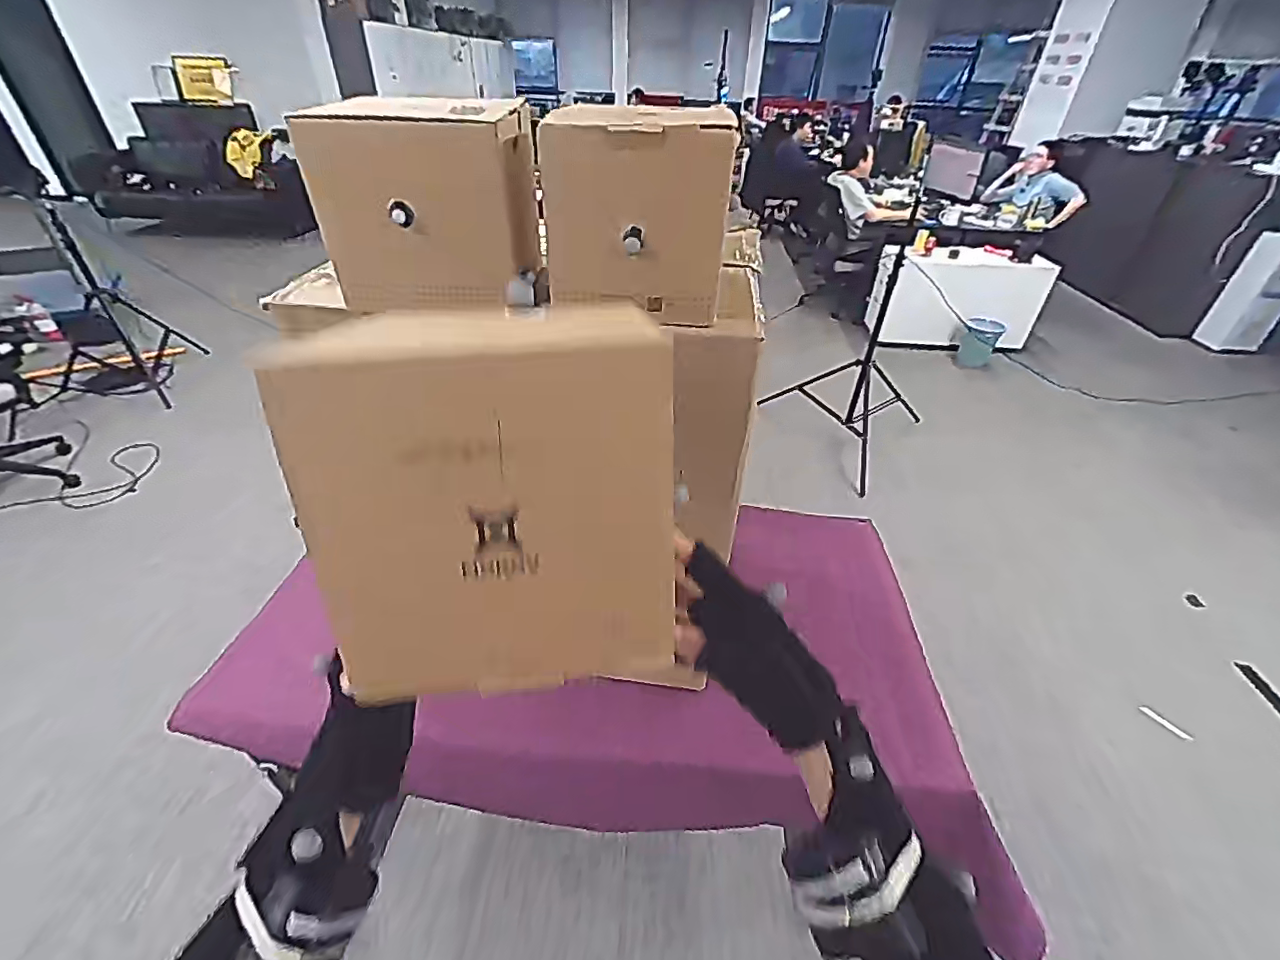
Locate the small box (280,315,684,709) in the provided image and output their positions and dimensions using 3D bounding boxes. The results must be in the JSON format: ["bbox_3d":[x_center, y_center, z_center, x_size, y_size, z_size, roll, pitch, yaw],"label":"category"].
[{"bbox_3d":[-0.069,0.002,0.327,0.168,0.179,0.176,-6,22,-6],"label":"small box"}]

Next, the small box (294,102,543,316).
[{"bbox_3d":[-0.201,-0.278,0.558,0.179,0.176,0.168,0,38,-1],"label":"small box"}]

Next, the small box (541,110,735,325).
[{"bbox_3d":[0.005,-0.272,0.558,0.168,0.176,0.179,5,39,3],"label":"small box"}]
